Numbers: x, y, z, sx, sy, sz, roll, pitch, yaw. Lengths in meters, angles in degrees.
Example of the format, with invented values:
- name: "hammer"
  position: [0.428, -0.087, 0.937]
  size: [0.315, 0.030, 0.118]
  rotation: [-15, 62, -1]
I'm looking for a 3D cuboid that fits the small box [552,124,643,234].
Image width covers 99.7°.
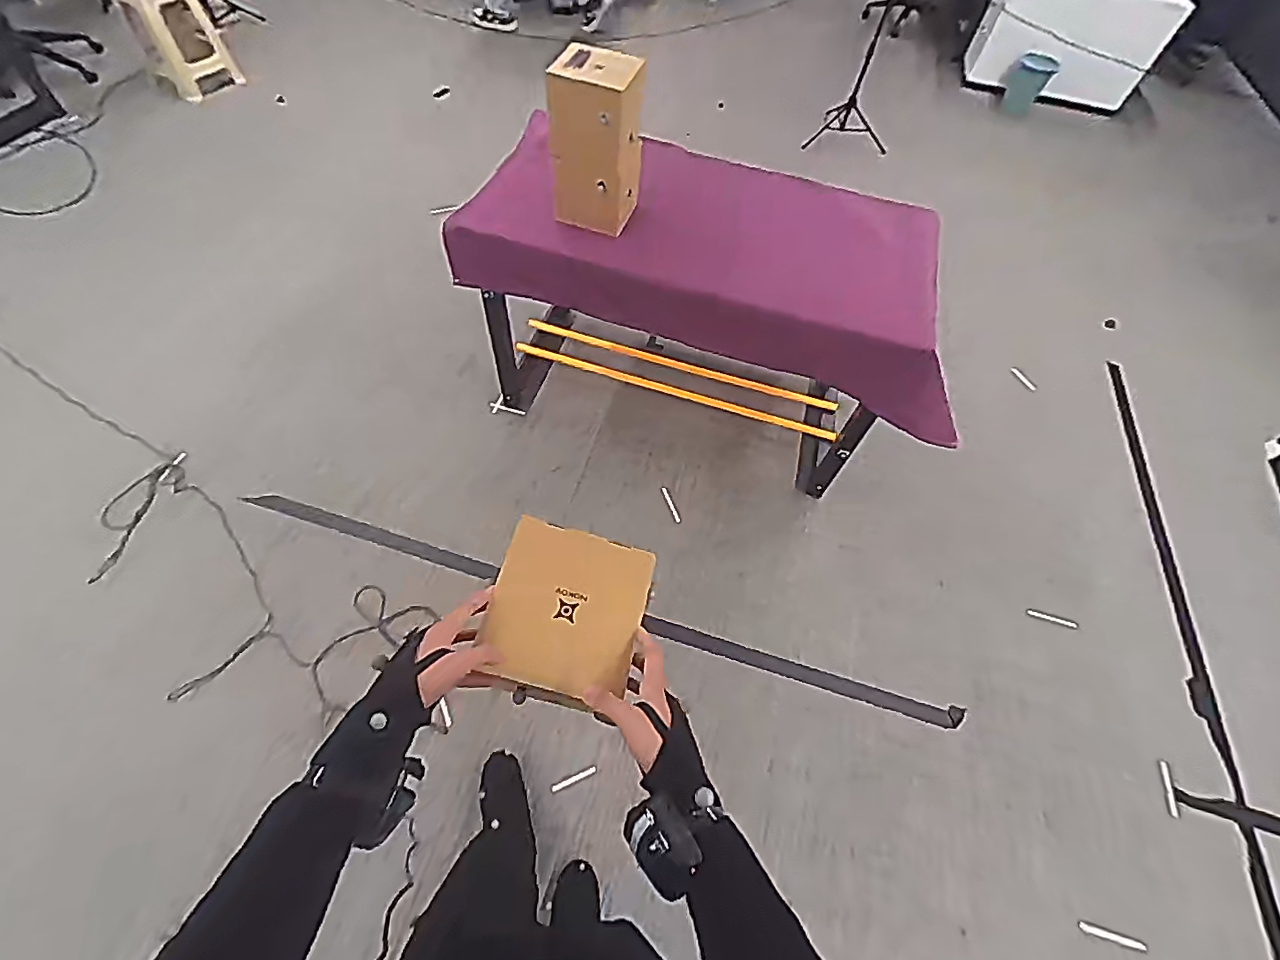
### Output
- name: "small box"
  position: [-0.107, -0.752, 1.363]
  size: [0.179, 0.176, 0.168]
  rotation: [18, 58, 5]

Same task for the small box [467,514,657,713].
- name: "small box"
  position: [-0.091, 0.170, 0.652]
  size: [0.168, 0.176, 0.179]
  rotation: [17, 61, -4]
